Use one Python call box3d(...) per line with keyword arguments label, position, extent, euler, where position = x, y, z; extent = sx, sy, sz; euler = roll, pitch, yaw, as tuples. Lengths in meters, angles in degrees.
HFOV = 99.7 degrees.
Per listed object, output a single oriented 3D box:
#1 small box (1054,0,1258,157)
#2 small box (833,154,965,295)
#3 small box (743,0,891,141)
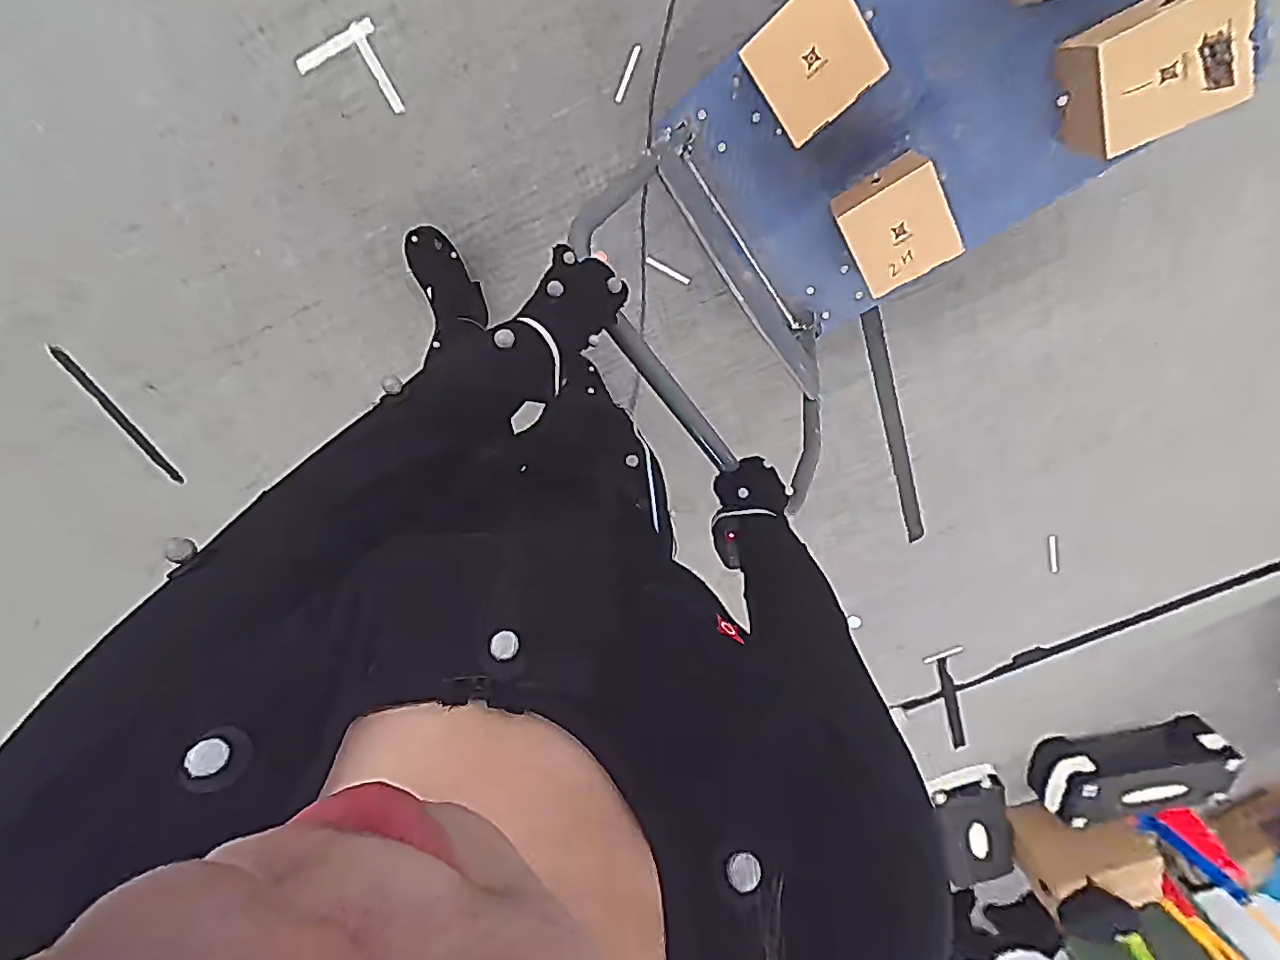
box3d(label="small box", position=(0.790, -0.642, 0.843), extent=(0.179, 0.176, 0.168), euler=(-17, 121, 25))
box3d(label="small box", position=(0.482, -0.490, 1.029), extent=(0.168, 0.176, 0.179), euler=(-24, 118, 28))
box3d(label="small box", position=(0.288, -0.711, 0.908), extent=(0.168, 0.176, 0.179), euler=(-31, 116, 30))
